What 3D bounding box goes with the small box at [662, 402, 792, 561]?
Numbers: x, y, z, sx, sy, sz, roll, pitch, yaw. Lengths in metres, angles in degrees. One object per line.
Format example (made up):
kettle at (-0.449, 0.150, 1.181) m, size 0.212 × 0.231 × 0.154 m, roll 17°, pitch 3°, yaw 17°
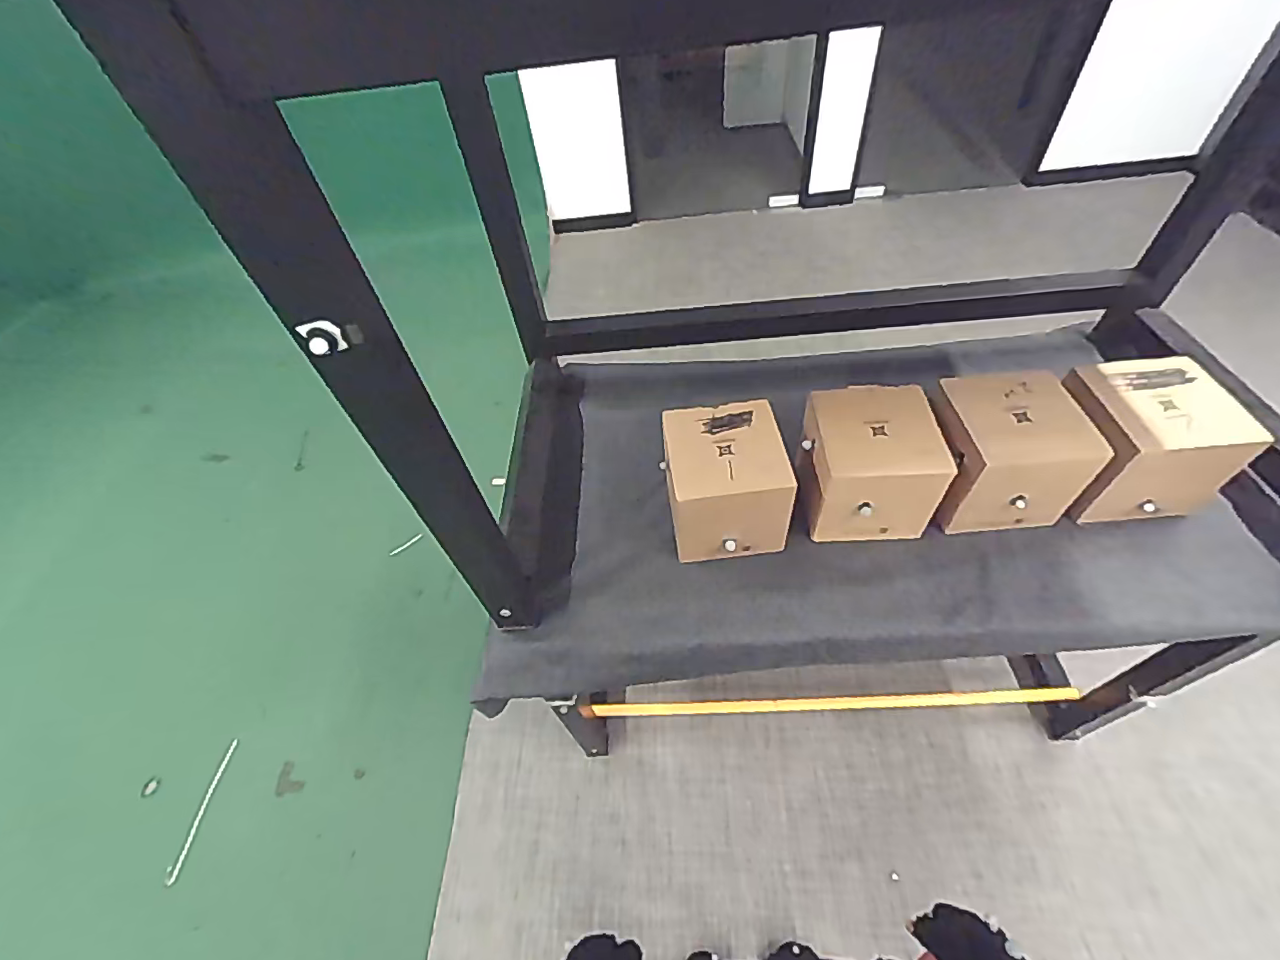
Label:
small box at (0.126, 0.004, 0.848) m, size 0.168 × 0.176 × 0.179 m, roll -8°, pitch 51°, yaw 1°
